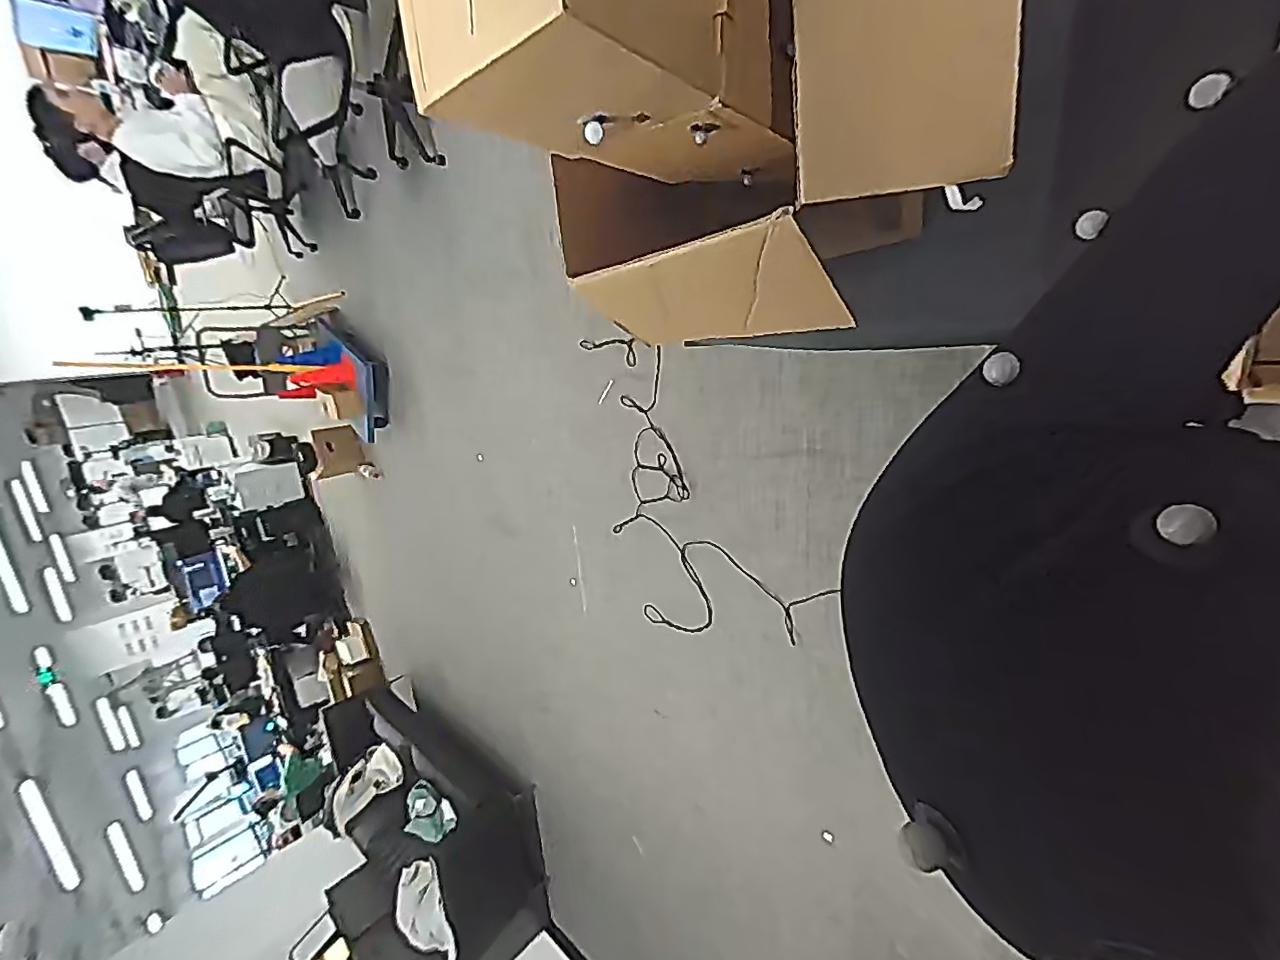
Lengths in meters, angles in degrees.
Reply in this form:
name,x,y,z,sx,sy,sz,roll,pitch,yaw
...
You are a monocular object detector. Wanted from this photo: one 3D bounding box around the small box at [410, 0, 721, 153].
name,x,y,z,sx,sy,sz,roll,pitch,yaw
small box,-0.053,-0.377,0.401,0.168,0.176,0.179,6,107,39
